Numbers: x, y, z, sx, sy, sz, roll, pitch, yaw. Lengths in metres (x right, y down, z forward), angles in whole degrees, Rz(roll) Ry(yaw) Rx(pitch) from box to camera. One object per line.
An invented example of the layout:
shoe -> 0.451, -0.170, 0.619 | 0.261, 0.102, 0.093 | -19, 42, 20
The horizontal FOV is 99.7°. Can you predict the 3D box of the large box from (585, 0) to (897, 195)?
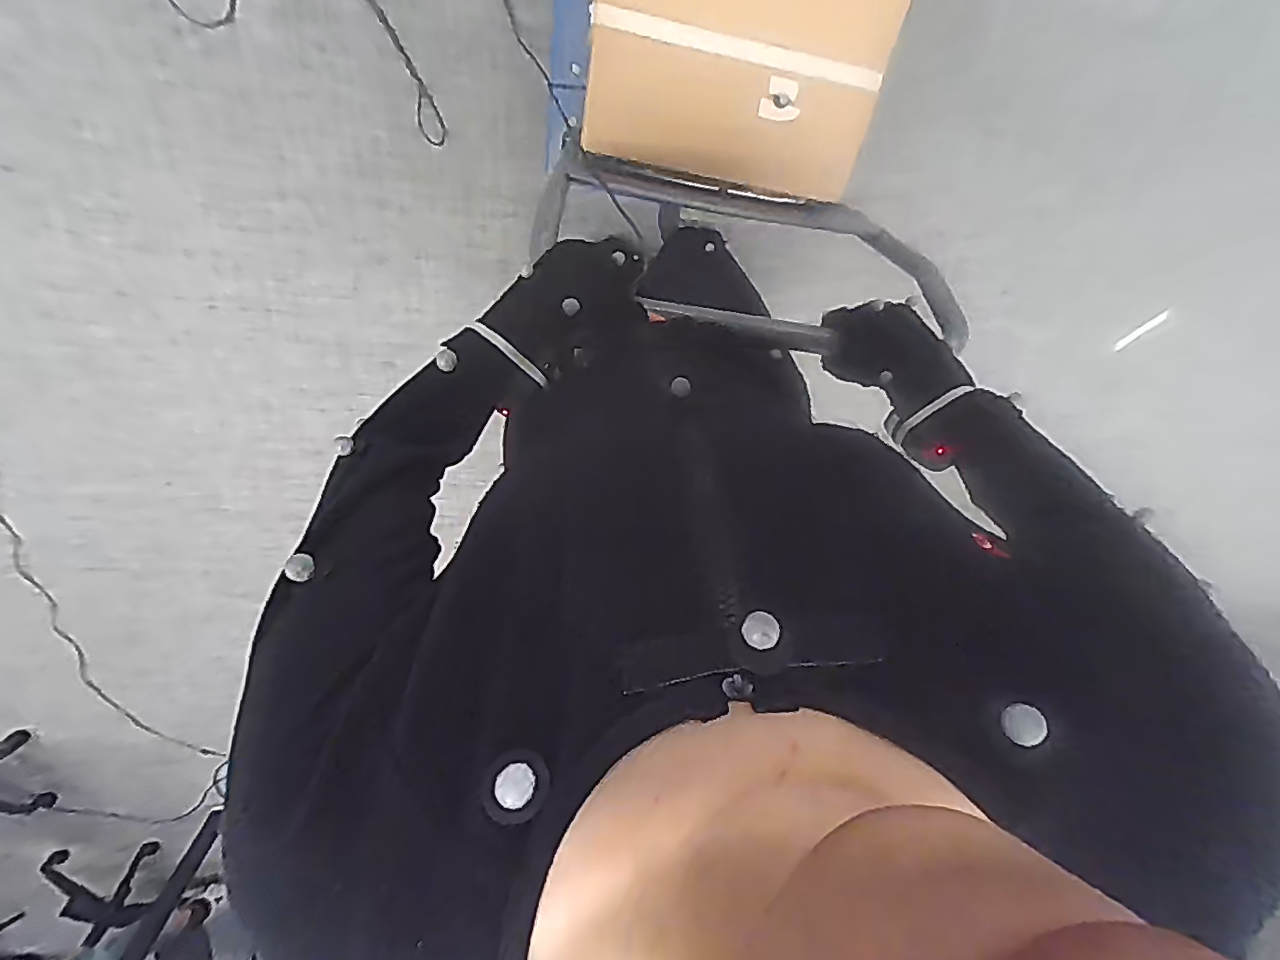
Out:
large box -> 0.124, -0.678, 0.865 | 0.408, 0.320, 0.320 | 6, 125, -9
